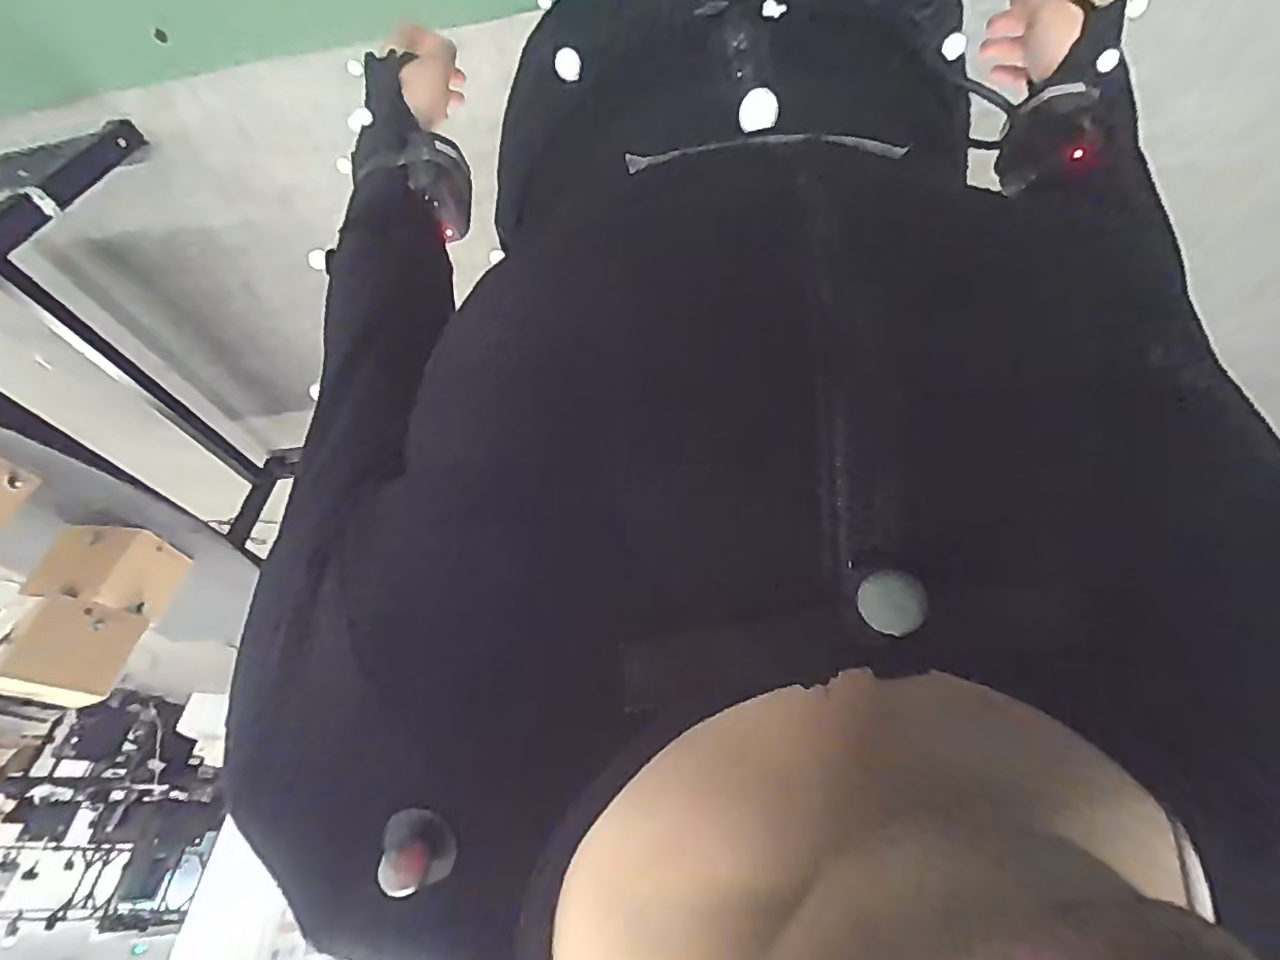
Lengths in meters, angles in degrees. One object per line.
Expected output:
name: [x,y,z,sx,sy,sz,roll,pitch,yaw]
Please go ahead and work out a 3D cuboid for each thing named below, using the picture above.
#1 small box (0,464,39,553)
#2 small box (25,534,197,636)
small box: [-1.225,0.042,0.935,0.179,0.176,0.168,-3,144,10]
small box: [-1.150,0.230,1.194,0.179,0.176,0.168,2,144,3]
